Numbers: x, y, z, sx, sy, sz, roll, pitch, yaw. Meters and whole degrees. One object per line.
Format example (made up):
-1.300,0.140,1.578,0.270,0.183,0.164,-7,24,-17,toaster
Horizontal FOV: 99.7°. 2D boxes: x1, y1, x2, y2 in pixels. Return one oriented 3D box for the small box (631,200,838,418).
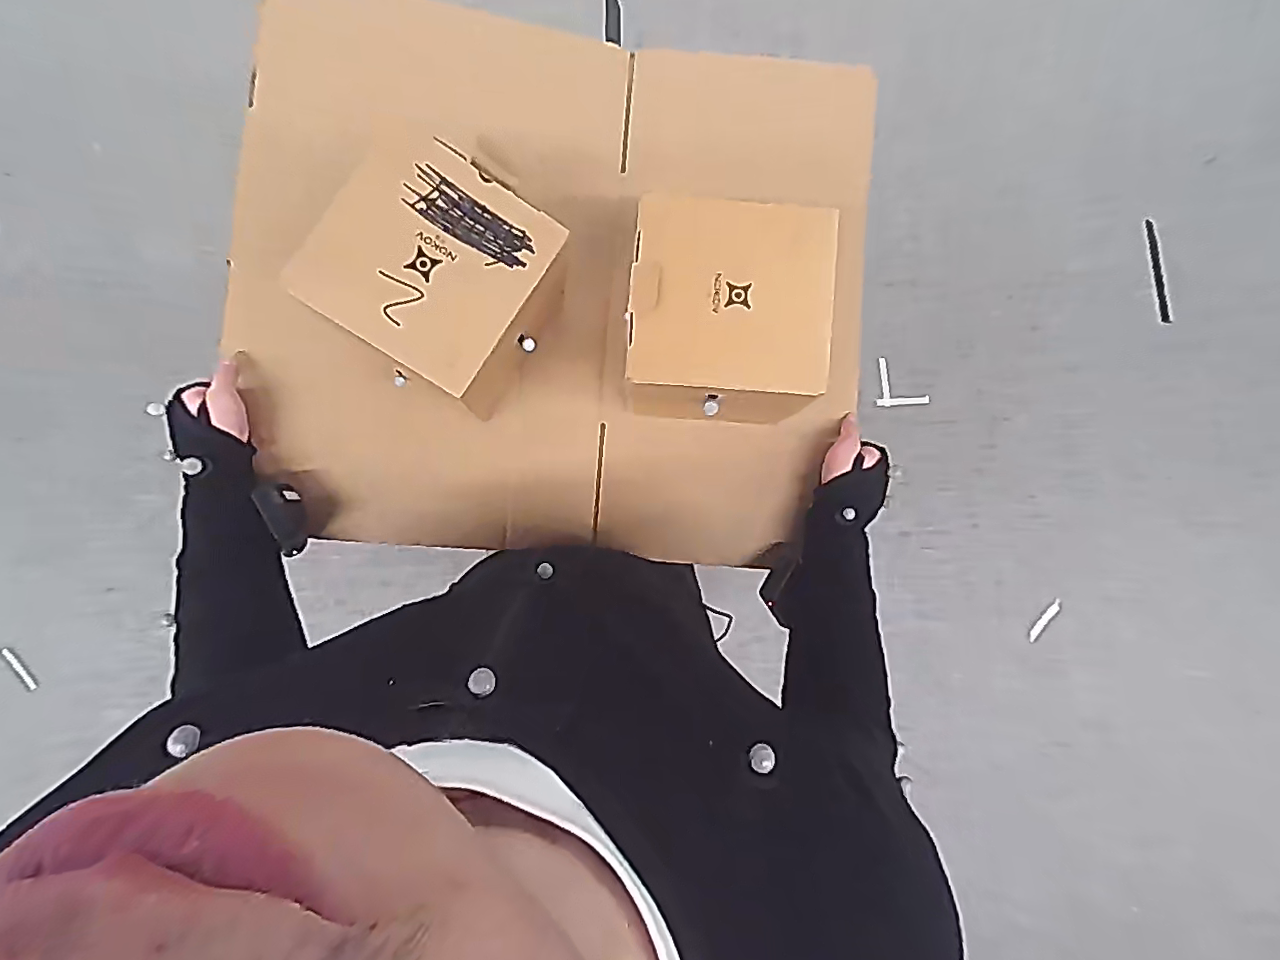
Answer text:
0.085,-0.161,0.563,0.179,0.176,0.168,4,87,1,small box
